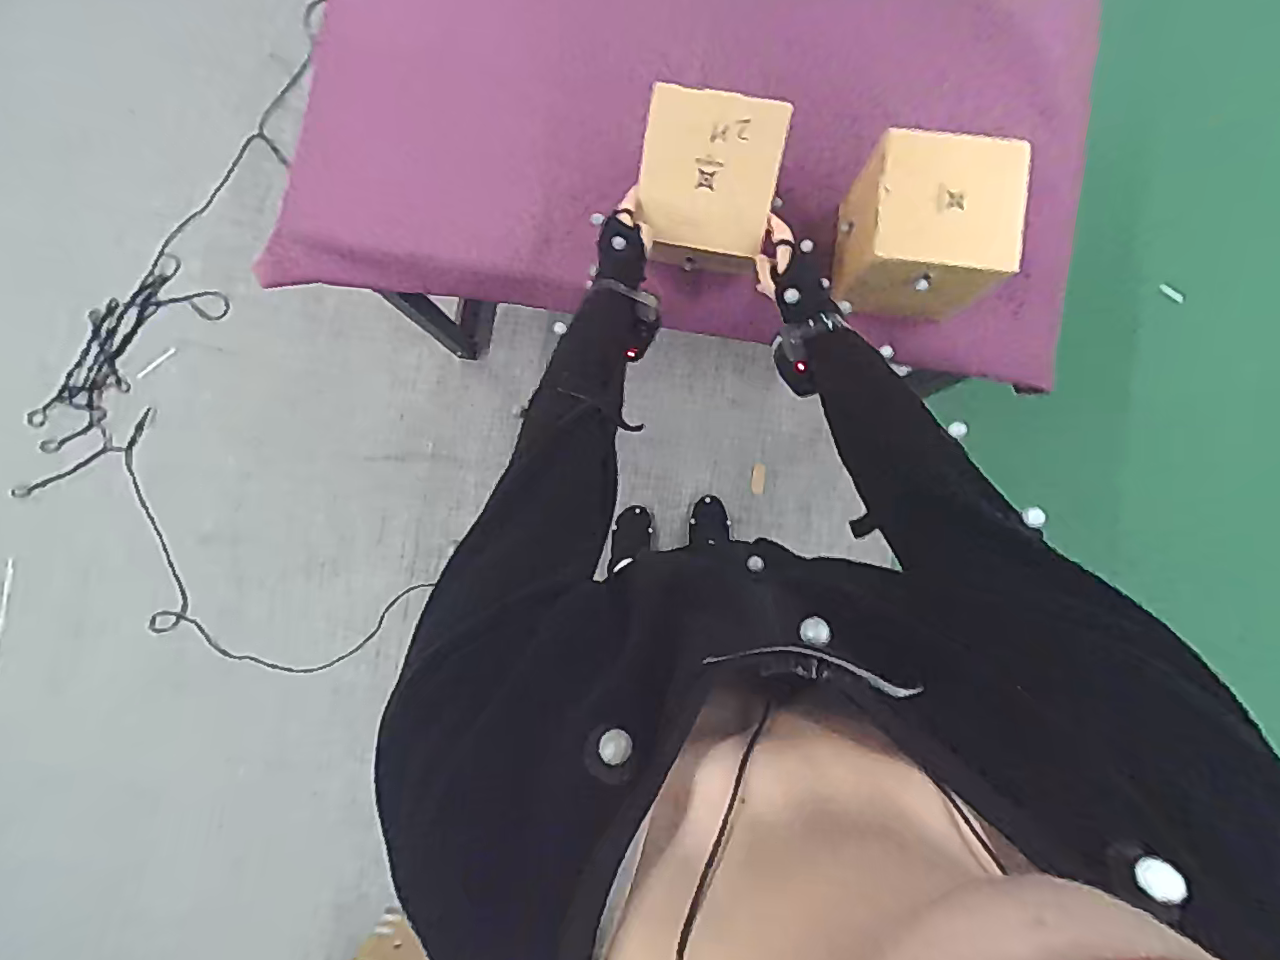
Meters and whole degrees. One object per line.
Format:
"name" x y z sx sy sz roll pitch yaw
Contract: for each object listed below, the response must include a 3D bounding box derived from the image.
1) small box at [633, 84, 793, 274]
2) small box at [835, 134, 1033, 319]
"small box" 0.095 -0.389 0.734 0.168 0.176 0.179 12 104 3
"small box" 0.388 -0.333 0.741 0.179 0.176 0.168 8 87 4
